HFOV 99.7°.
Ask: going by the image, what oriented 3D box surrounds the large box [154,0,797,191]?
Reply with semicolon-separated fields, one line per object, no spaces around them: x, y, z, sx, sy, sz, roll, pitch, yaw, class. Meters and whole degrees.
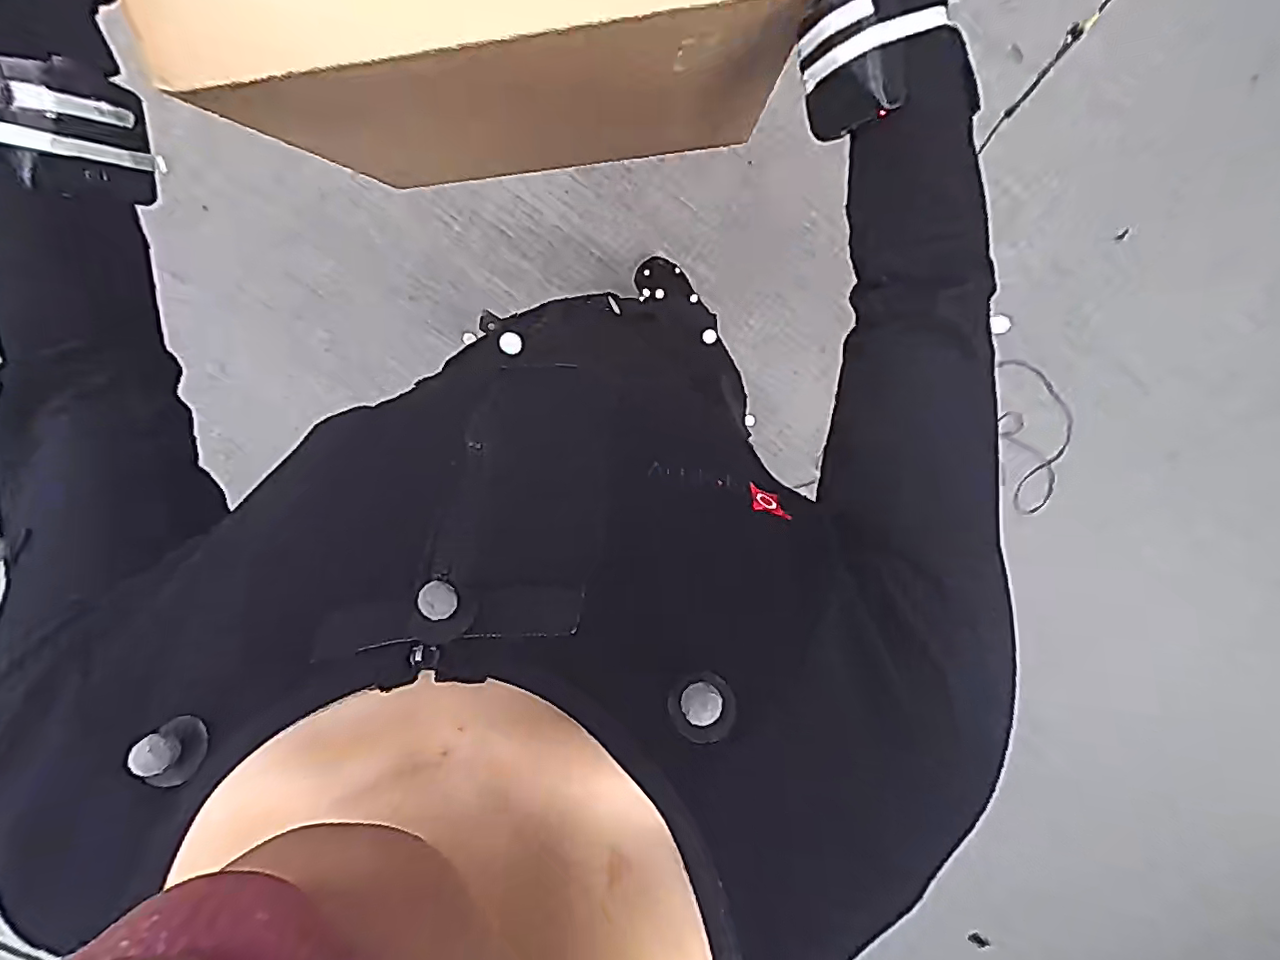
-0.108;-0.457;0.425;0.408;0.320;0.320;-7;108;5;large box
